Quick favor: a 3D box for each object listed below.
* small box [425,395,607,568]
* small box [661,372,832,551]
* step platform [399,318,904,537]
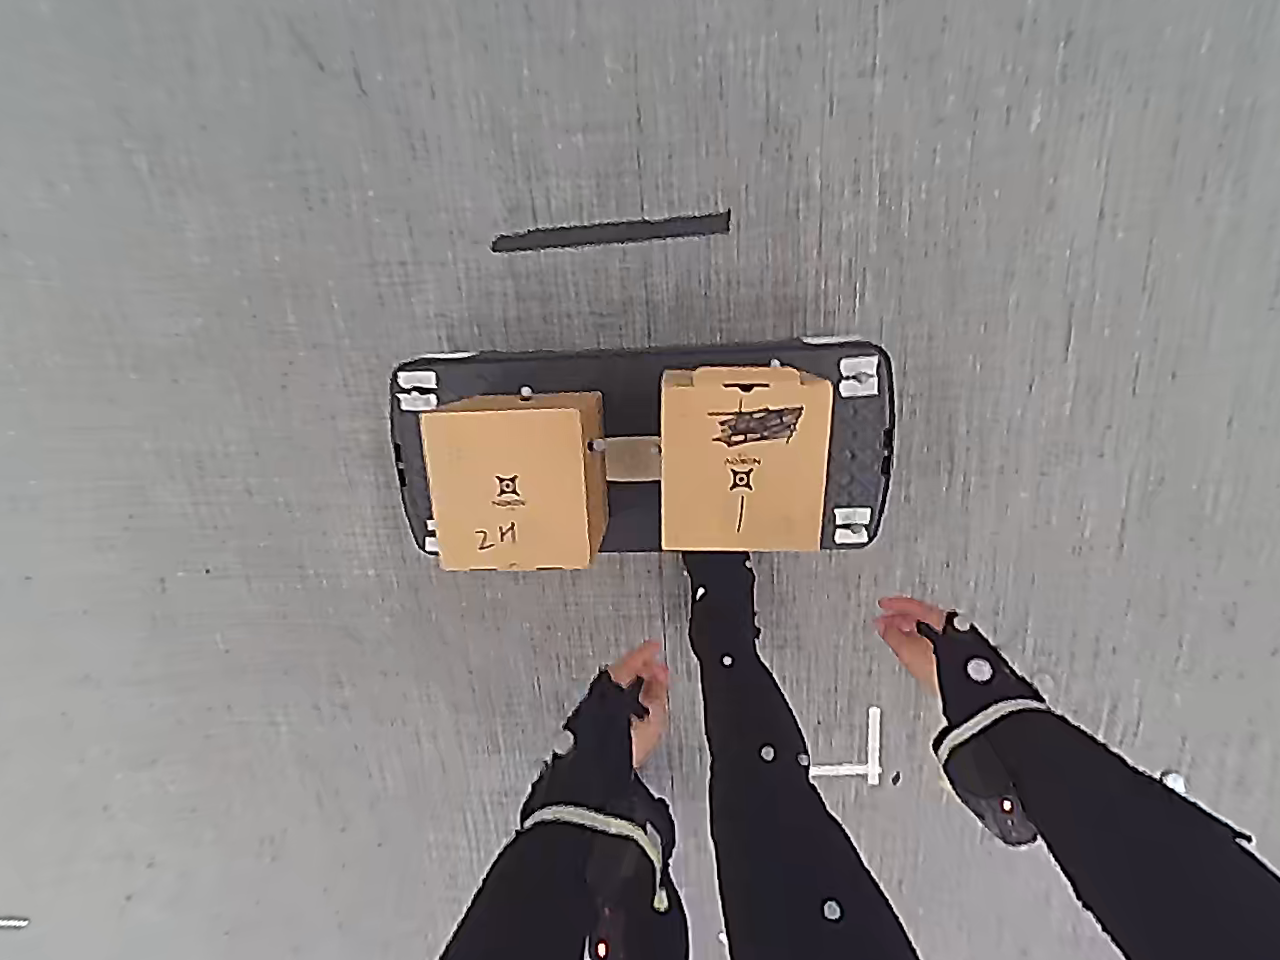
[{"bbox_3d":[-0.132,-0.008,0.640,0.168,0.176,0.179,-1,105,4],"label":"small box"},{"bbox_3d":[0.108,-0.032,0.621,0.168,0.176,0.179,1,106,4],"label":"small box"},{"bbox_3d":[0.012,-0.075,0.794,0.684,0.204,0.286,-2,104,5],"label":"step platform"}]
